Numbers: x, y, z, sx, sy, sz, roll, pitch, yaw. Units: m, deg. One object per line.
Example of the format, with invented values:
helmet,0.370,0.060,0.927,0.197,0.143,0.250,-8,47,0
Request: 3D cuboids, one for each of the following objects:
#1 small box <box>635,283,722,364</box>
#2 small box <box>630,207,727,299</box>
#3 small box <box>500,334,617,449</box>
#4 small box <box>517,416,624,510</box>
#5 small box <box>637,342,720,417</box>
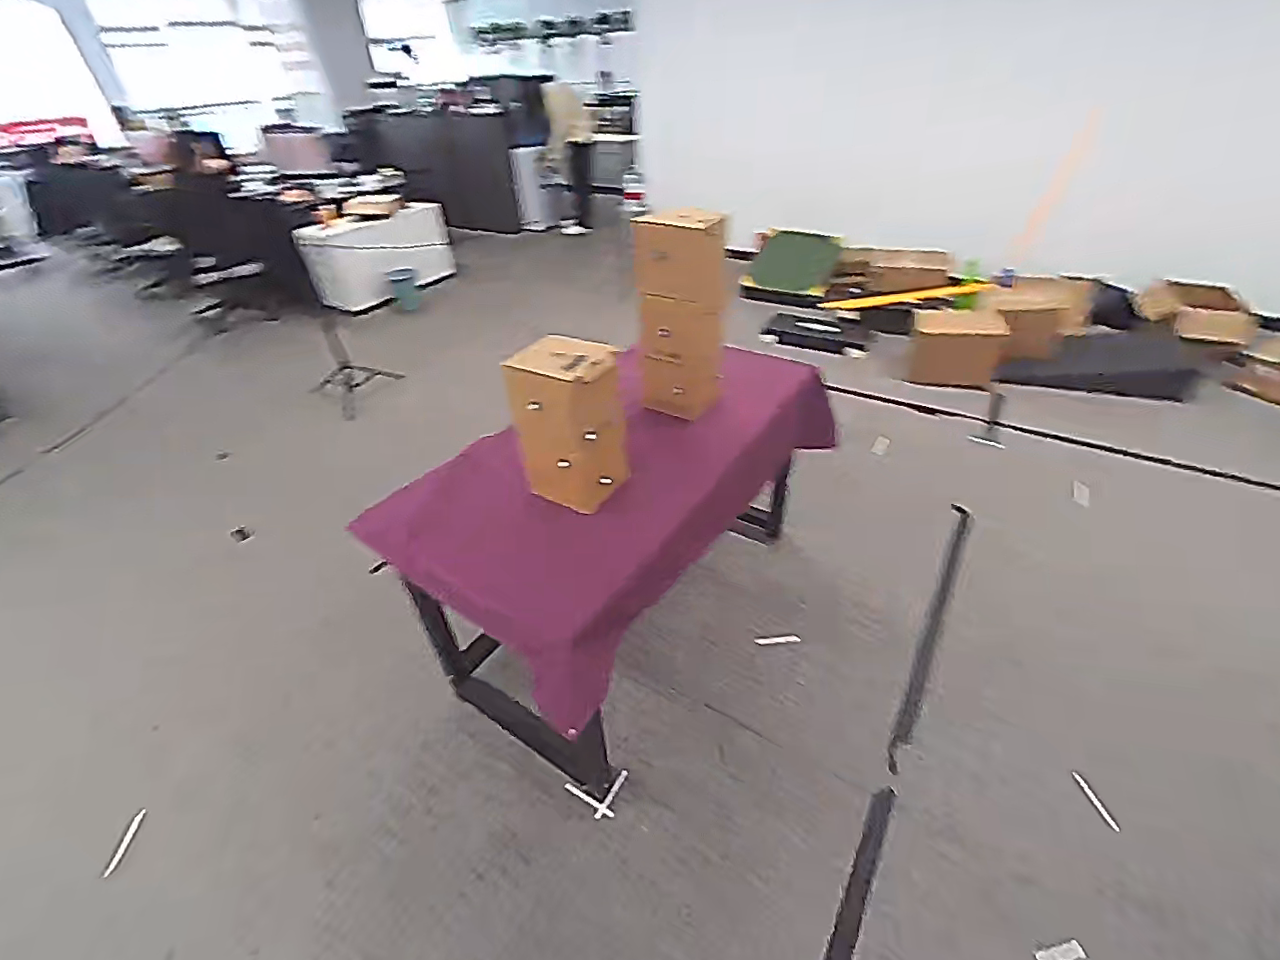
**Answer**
small box,0.105,-0.422,1.416,0.168,0.176,0.179,20,44,25
small box,0.095,-0.554,1.319,0.179,0.176,0.168,20,44,27
small box,-0.162,-0.185,1.142,0.179,0.176,0.168,18,43,25
small box,-0.153,-0.057,1.245,0.179,0.176,0.168,20,44,25
small box,0.111,-0.295,1.520,0.179,0.176,0.168,20,44,27
